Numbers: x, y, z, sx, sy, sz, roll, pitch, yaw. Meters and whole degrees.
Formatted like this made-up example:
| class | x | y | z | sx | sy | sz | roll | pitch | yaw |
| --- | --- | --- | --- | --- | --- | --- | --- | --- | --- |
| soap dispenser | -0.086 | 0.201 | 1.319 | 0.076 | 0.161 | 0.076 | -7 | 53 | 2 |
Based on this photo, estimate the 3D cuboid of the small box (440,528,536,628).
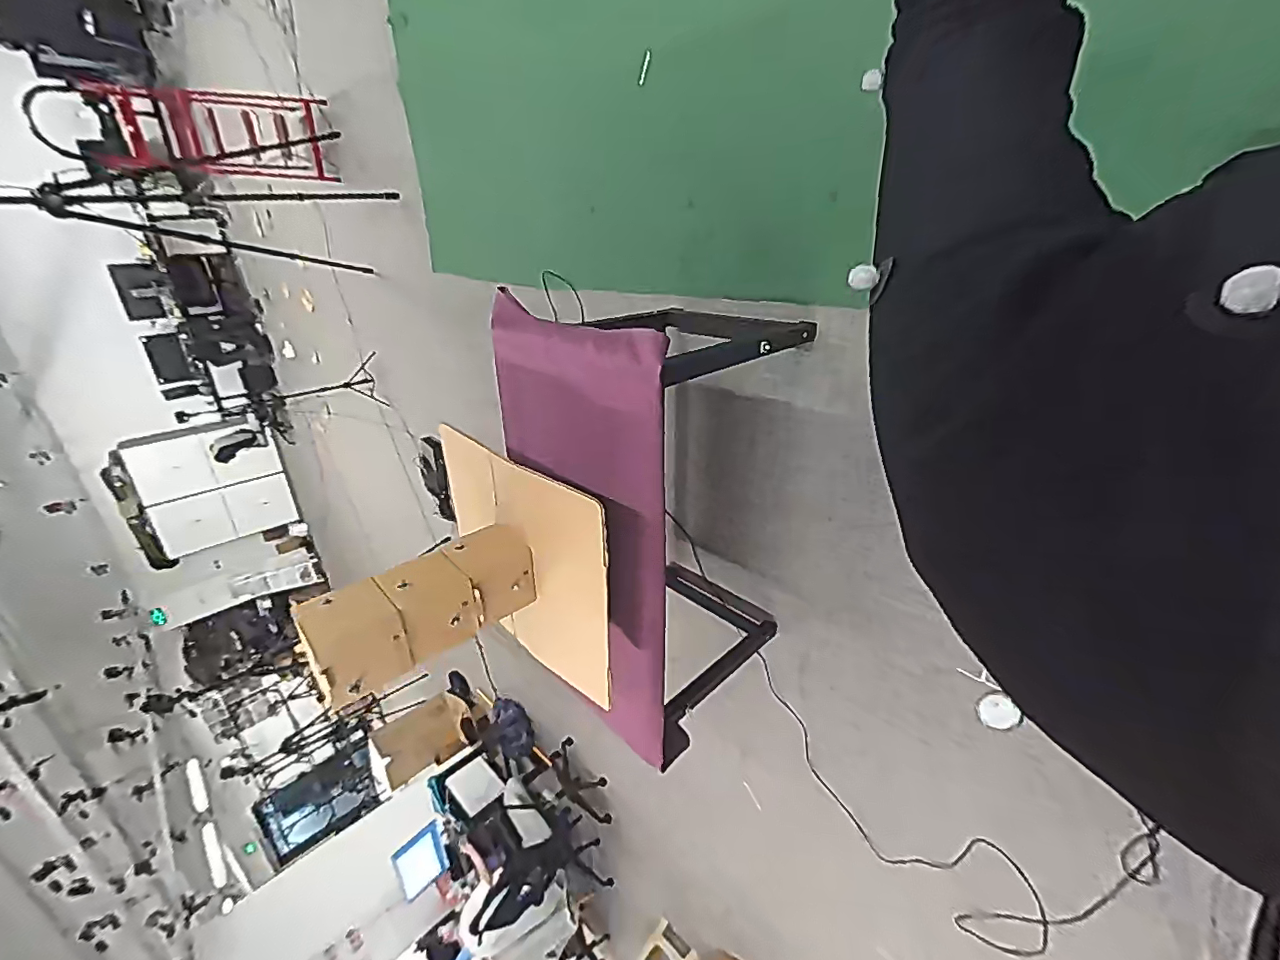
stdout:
| class | x | y | z | sx | sy | sz | roll | pitch | yaw |
| --- | --- | --- | --- | --- | --- | --- | --- | --- | --- |
| small box | -0.386 | 0.241 | 1.384 | 0.179 | 0.176 | 0.168 | 26 | 127 | 40 |

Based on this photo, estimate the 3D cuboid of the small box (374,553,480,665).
| class | x | y | z | sx | sy | sz | roll | pitch | yaw |
| --- | --- | --- | --- | --- | --- | --- | --- | --- | --- |
| small box | -0.500 | 0.293 | 1.279 | 0.179 | 0.176 | 0.168 | 23 | 124 | 41 |
